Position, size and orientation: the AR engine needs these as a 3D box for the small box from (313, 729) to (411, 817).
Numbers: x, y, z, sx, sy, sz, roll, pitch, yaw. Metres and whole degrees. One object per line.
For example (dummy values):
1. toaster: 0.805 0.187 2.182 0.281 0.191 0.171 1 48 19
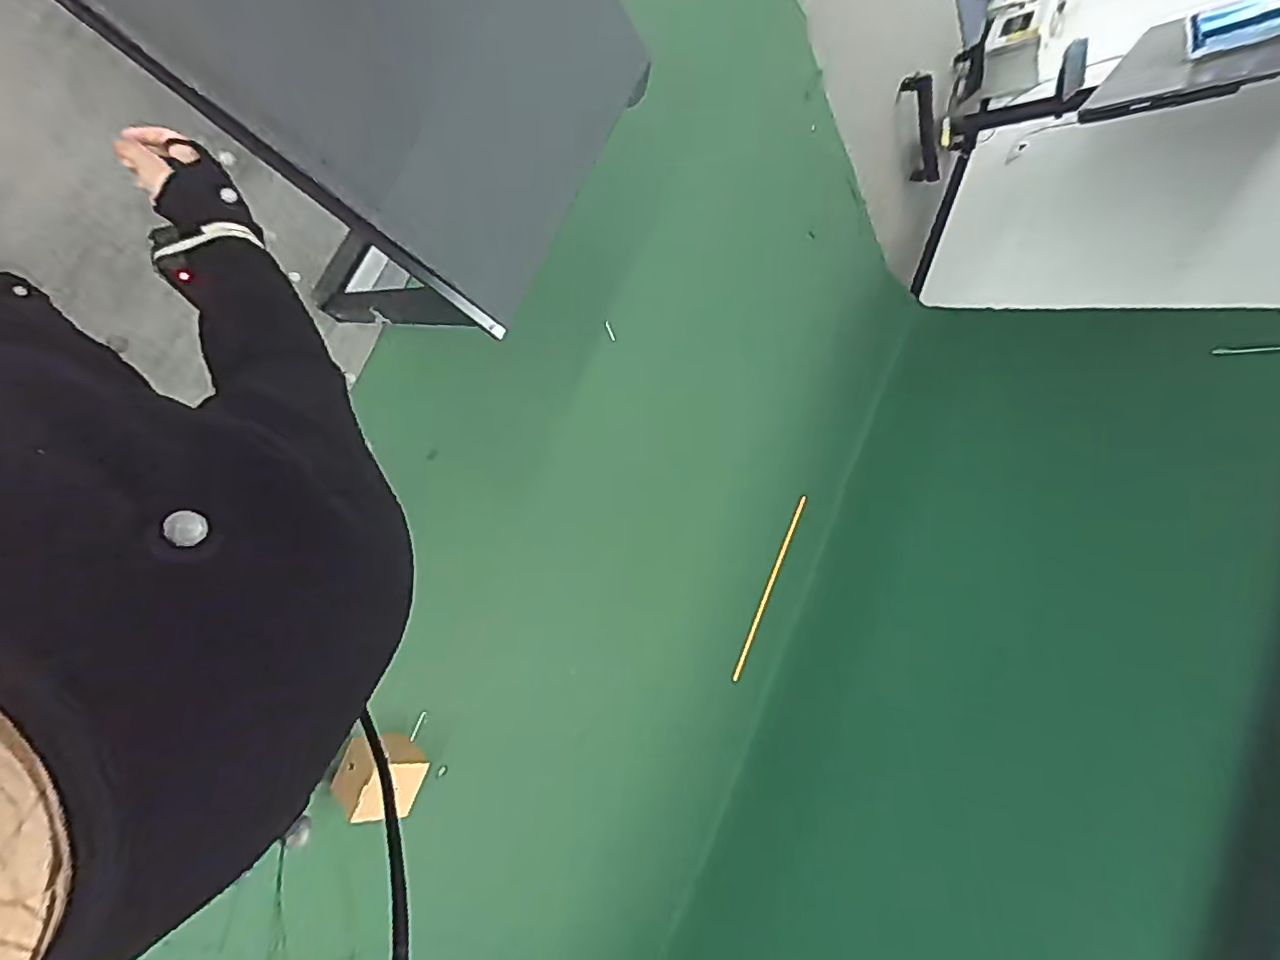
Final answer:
1. small box: -0.824 0.859 1.601 0.179 0.176 0.168 32 79 -49
